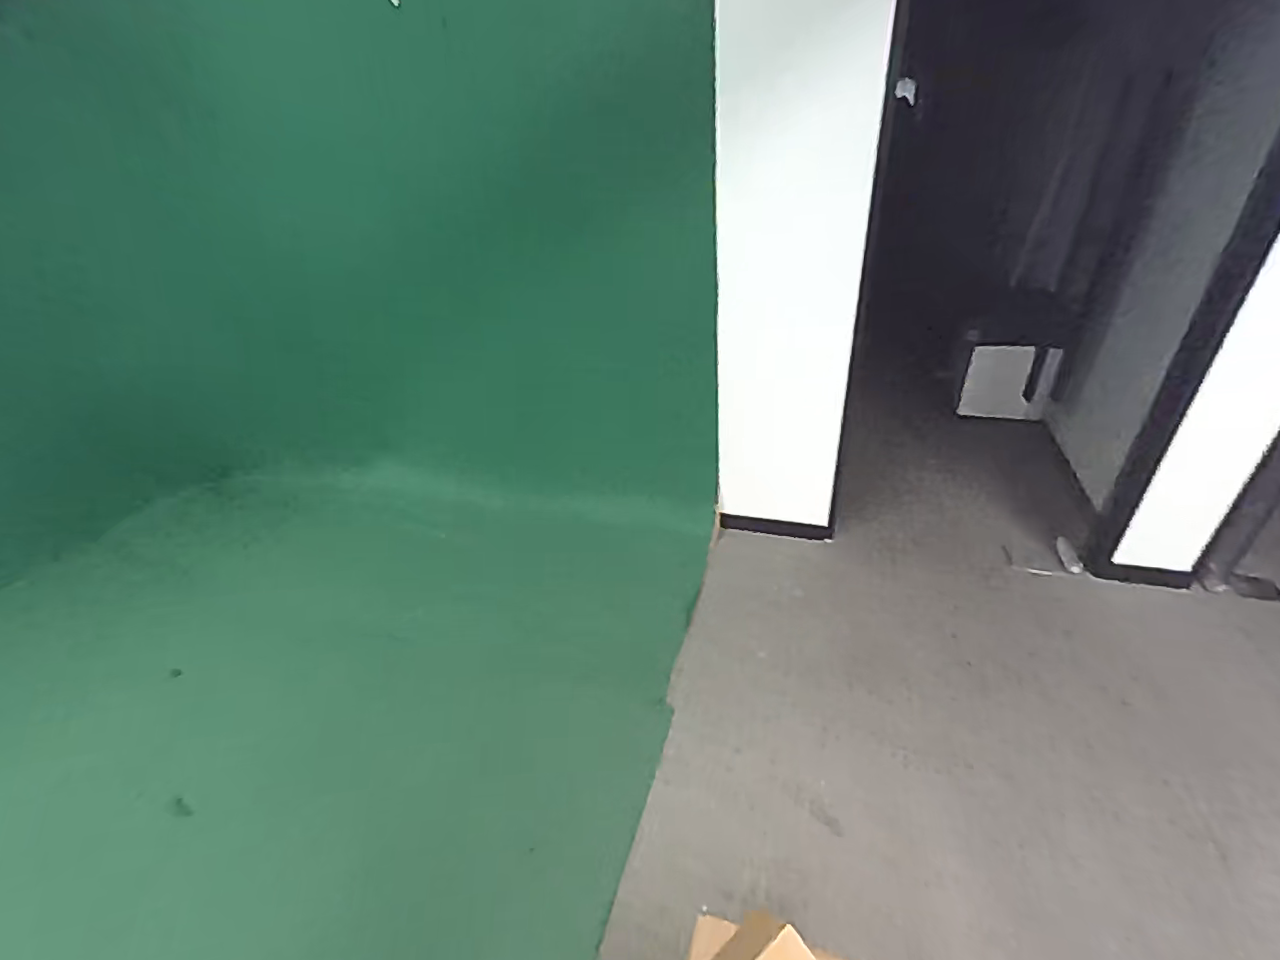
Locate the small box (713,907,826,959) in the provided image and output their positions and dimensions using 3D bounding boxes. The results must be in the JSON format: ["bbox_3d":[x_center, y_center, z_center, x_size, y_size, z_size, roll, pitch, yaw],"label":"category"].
[{"bbox_3d":[0.108,0.478,0.418,0.179,0.176,0.168,-37,61,-17],"label":"small box"}]
